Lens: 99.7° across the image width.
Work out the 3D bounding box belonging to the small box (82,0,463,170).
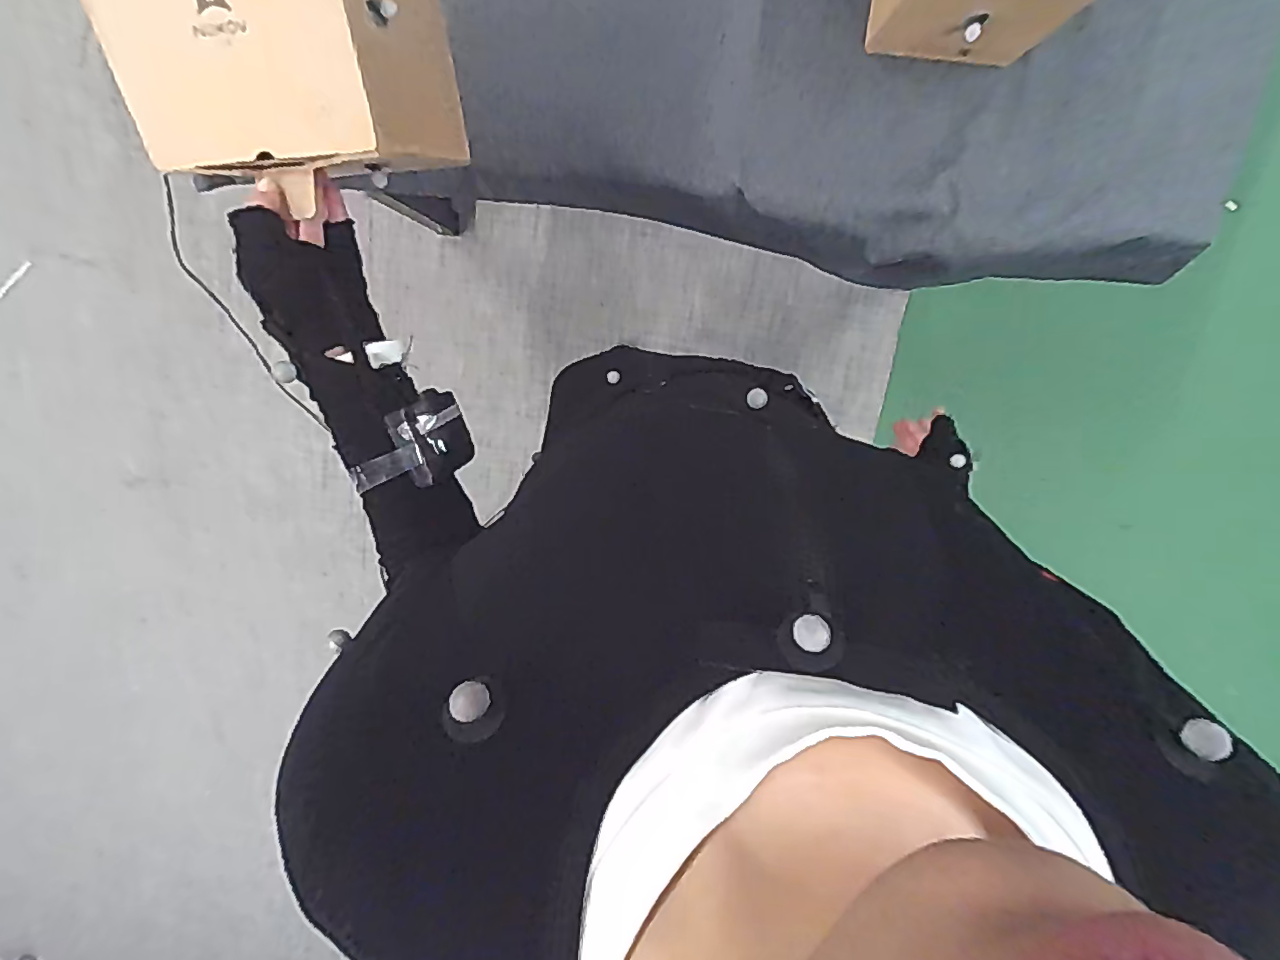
[{"bbox_3d":[-0.245,-0.326,0.386,0.168,0.176,0.179,-1,118,5],"label":"small box"}]
